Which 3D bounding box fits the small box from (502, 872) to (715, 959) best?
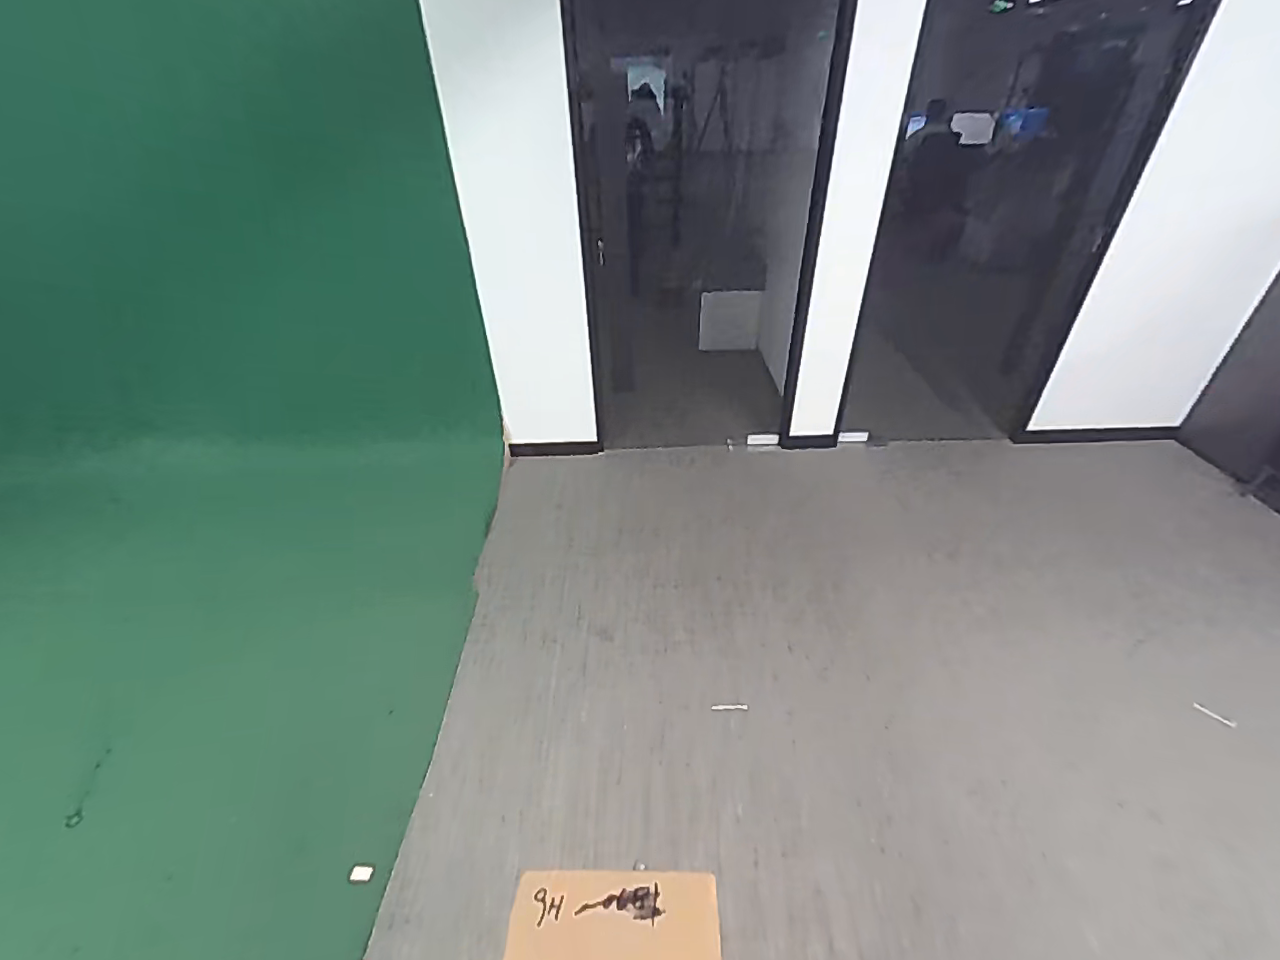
[{"bbox_3d":[-0.021,0.448,0.435,0.168,0.176,0.179,-1,38,4],"label":"small box"}]
